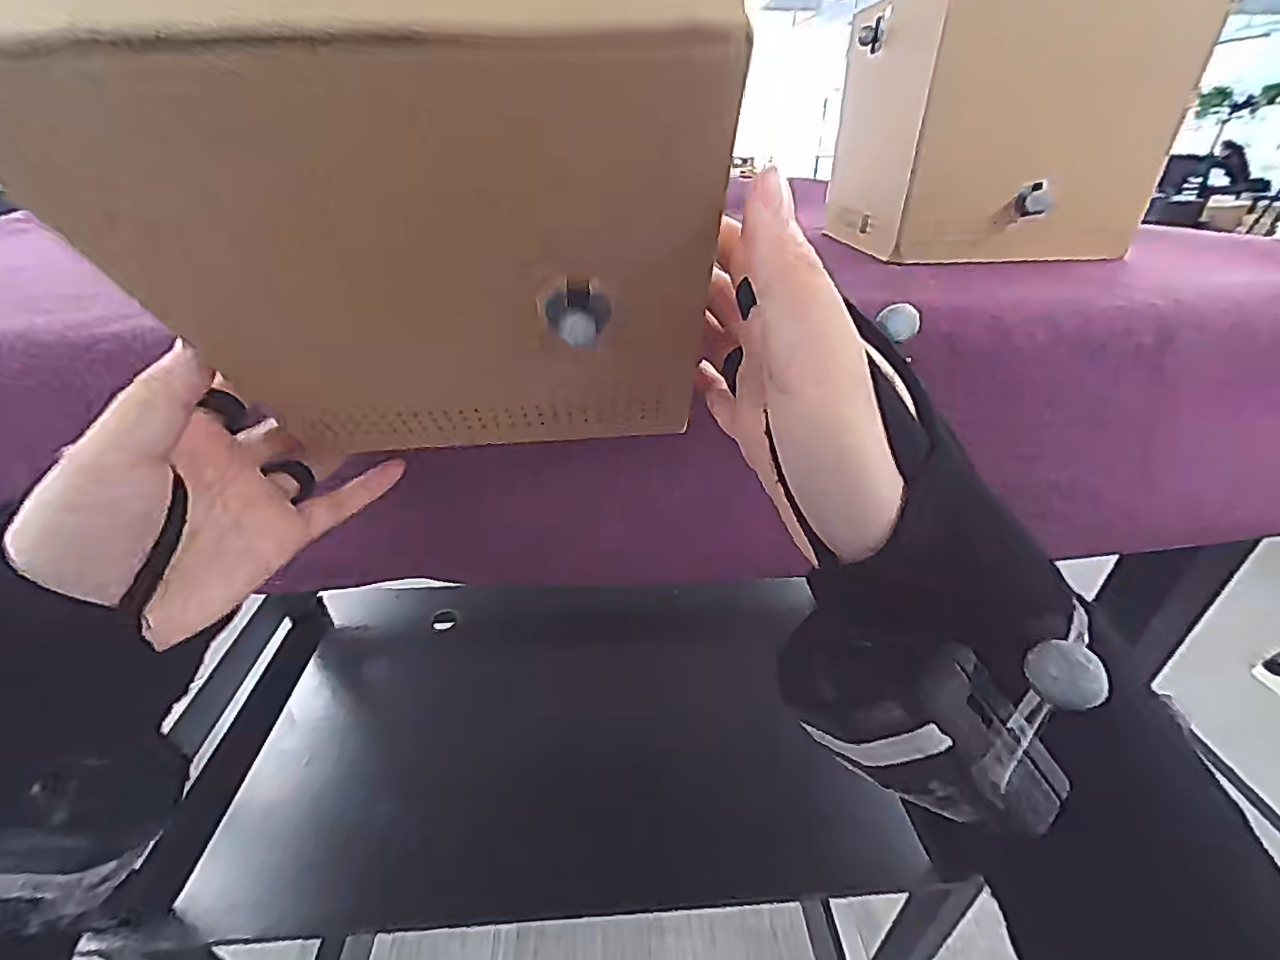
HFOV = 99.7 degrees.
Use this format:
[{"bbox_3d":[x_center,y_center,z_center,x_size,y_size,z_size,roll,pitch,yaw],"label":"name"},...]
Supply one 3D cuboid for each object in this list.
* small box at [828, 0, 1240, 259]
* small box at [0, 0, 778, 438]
[{"bbox_3d":[0.266,-0.274,0.416,0.179,0.176,0.168,-1,31,-1],"label":"small box"},{"bbox_3d":[-0.065,-0.127,0.208,0.179,0.176,0.168,-4,68,-3],"label":"small box"}]
